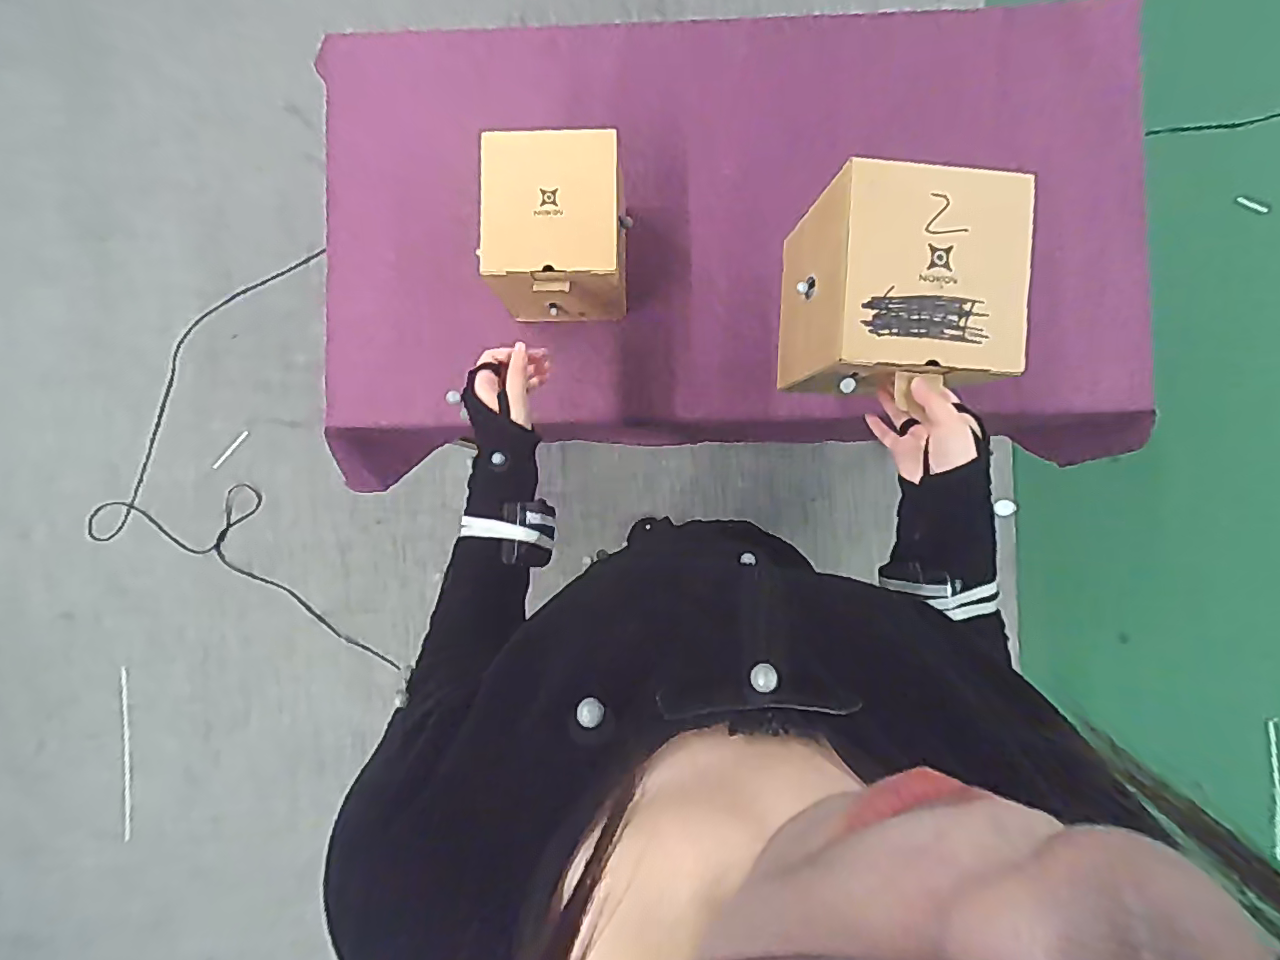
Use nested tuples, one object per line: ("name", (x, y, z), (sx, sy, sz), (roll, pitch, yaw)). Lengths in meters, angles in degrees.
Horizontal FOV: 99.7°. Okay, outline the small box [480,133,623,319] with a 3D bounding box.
("small box", (-0.111, -0.335, 0.738), (0.168, 0.176, 0.179), (0, 88, 1))
